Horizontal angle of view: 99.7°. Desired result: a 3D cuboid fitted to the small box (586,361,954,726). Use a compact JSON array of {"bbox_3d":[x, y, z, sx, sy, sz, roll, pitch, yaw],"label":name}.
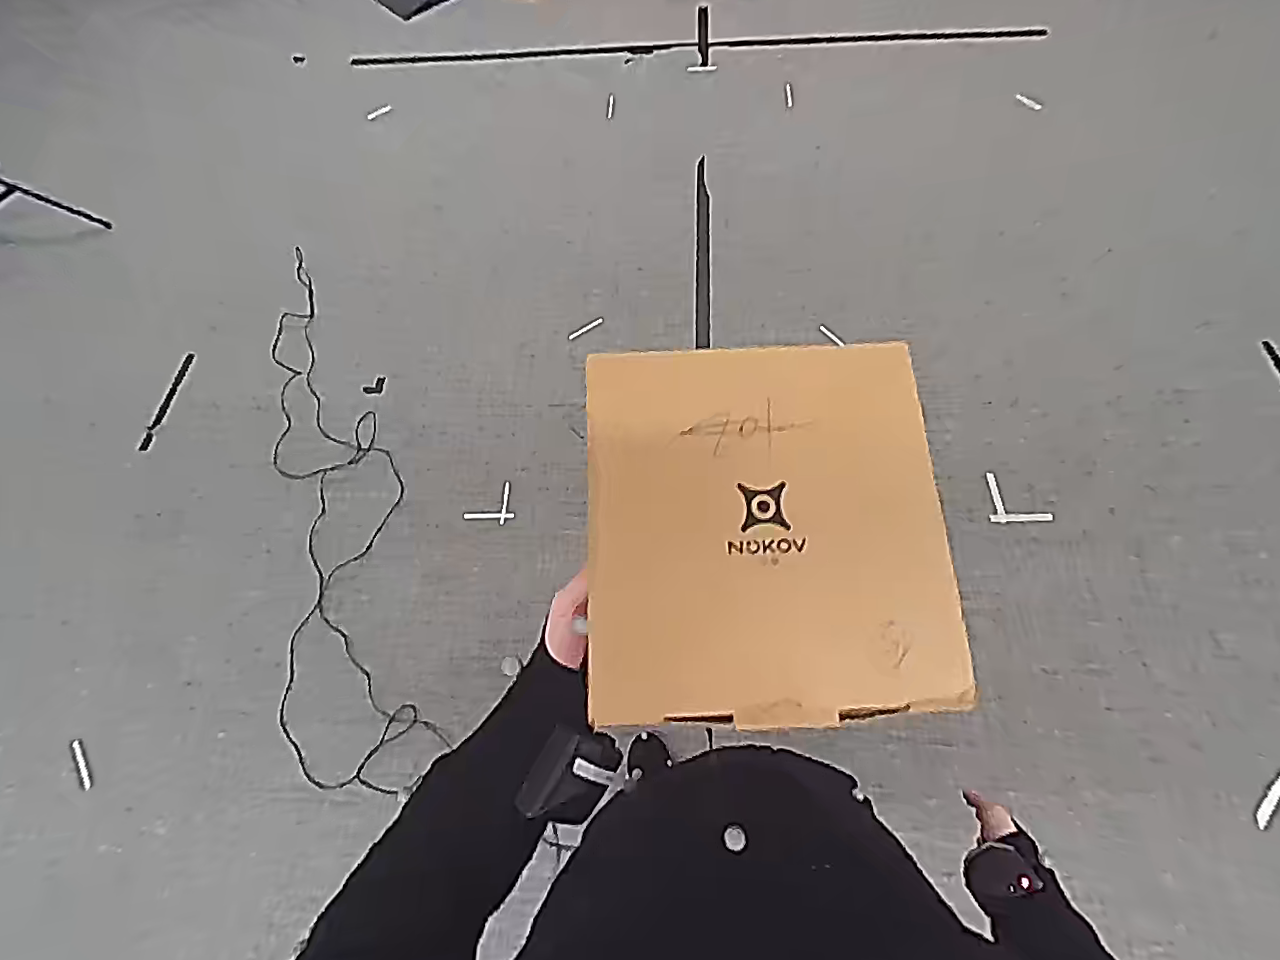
[{"bbox_3d":[0.055,0.045,0.339,0.168,0.176,0.179,-2,73,-2],"label":"small box"}]
